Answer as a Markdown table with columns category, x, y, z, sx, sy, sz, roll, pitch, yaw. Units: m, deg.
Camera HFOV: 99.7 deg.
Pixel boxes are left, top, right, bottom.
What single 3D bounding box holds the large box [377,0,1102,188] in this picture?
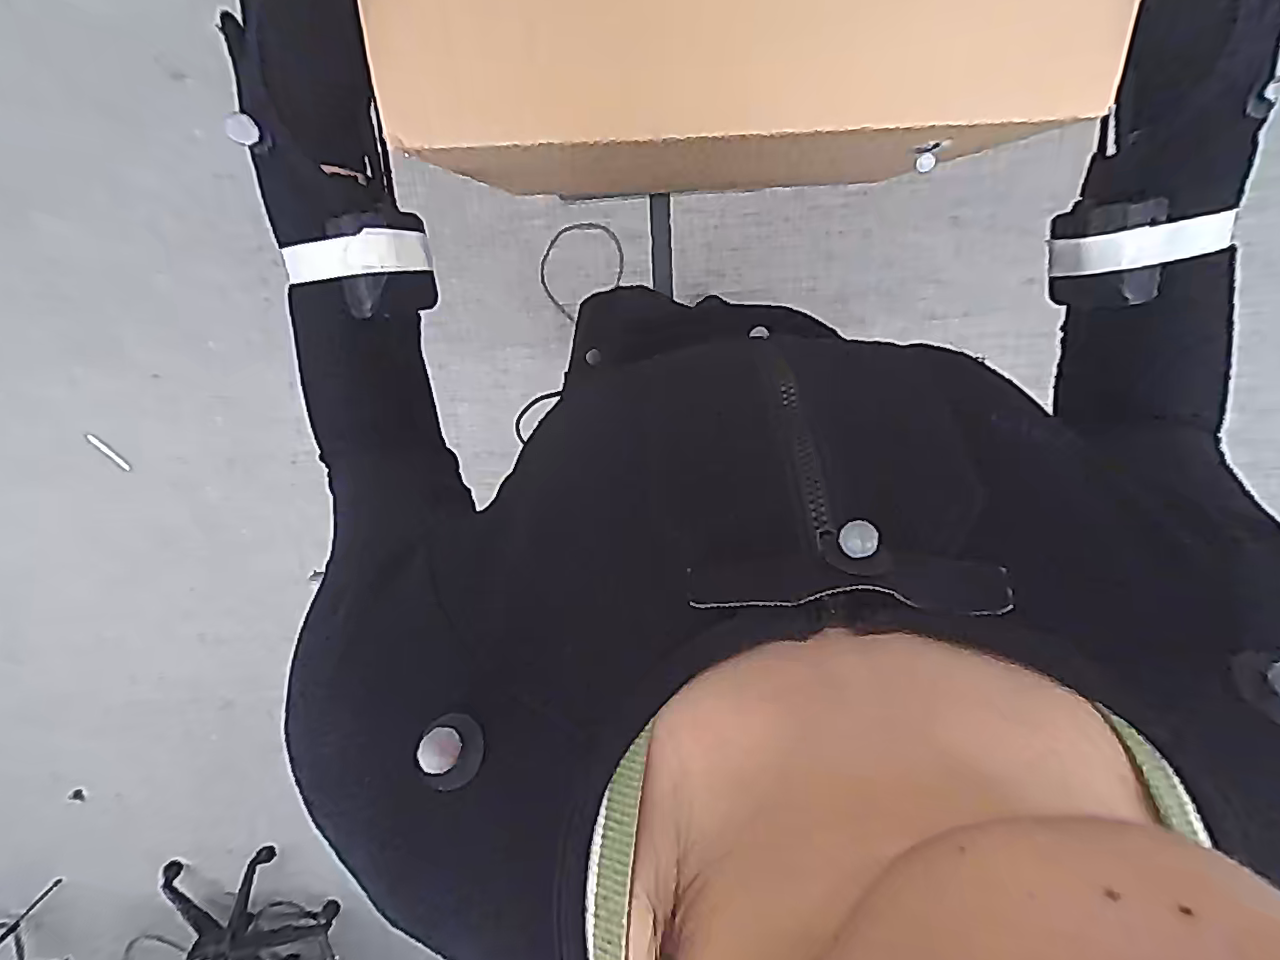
| category | x | y | z | sx | sy | sz | roll | pitch | yaw |
| --- | --- | --- | --- | --- | --- | --- | --- | --- | --- |
| large box | 0.052 | -0.405 | 0.393 | 0.408 | 0.320 | 0.320 | -2 | 113 | 1 |
